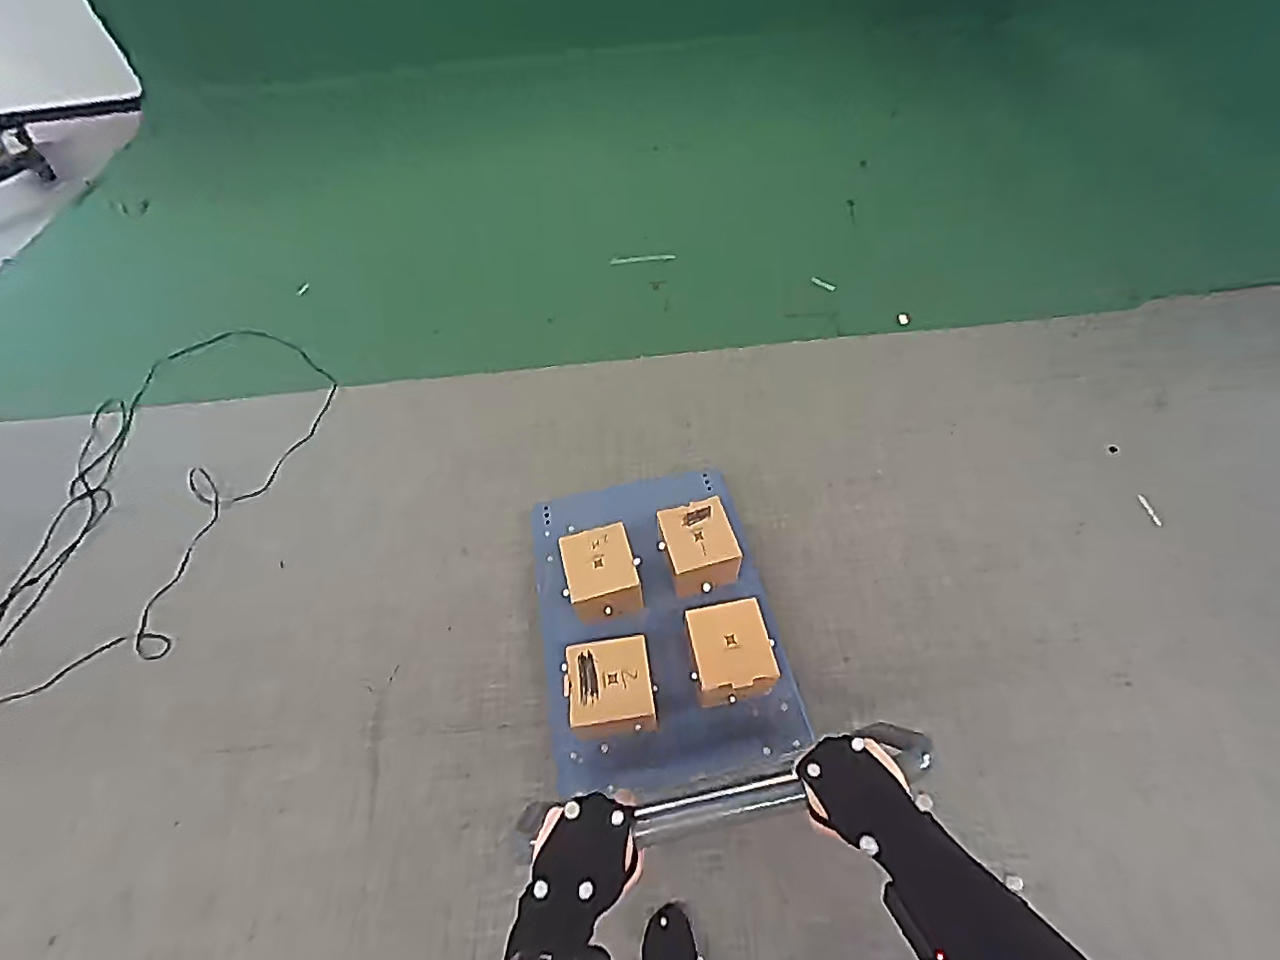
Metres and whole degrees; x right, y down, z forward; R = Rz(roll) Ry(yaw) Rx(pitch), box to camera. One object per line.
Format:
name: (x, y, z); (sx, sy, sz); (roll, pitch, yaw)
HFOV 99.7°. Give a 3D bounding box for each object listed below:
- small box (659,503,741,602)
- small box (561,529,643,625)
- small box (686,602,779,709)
small box: (0.150, 0.189, 1.399); (0.168, 0.176, 0.179); (-15, 57, -5)
small box: (-0.093, 0.254, 1.375); (0.168, 0.176, 0.179); (-14, 56, -6)
small box: (0.204, 0.408, 1.248); (0.168, 0.176, 0.179); (-11, 56, -3)
